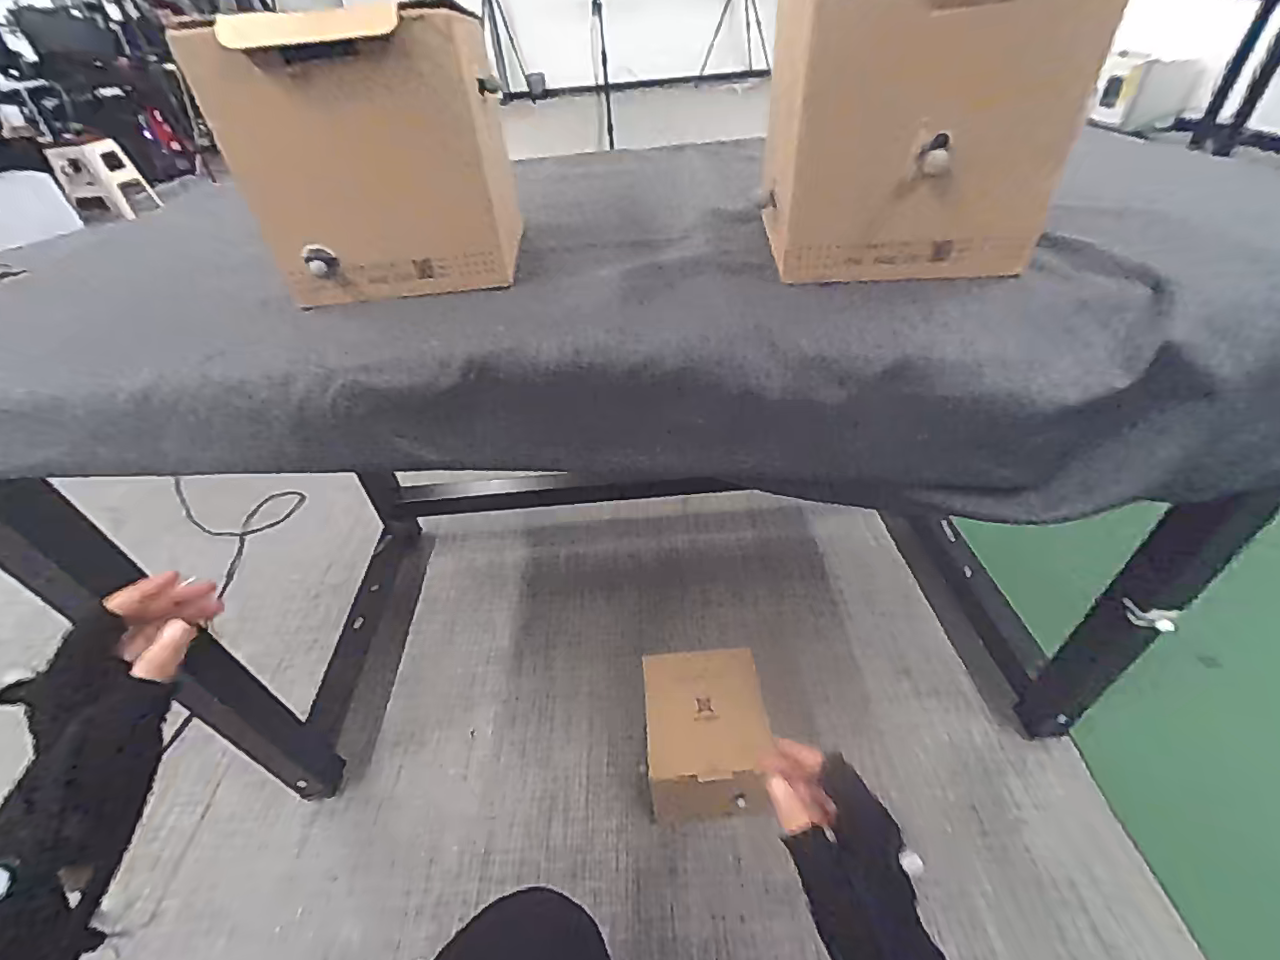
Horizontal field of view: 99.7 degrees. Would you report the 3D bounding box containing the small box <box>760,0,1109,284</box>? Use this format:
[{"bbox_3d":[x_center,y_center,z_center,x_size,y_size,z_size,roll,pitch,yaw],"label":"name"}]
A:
[{"bbox_3d":[0.182,-0.254,0.397,0.168,0.176,0.179,0,42,6],"label":"small box"}]

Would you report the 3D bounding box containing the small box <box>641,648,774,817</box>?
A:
[{"bbox_3d":[0.092,0.375,0.798,0.168,0.176,0.179,-5,39,-1],"label":"small box"}]

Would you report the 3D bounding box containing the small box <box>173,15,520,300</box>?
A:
[{"bbox_3d":[-0.198,-0.253,0.435,0.168,0.176,0.179,-7,39,-2],"label":"small box"}]
